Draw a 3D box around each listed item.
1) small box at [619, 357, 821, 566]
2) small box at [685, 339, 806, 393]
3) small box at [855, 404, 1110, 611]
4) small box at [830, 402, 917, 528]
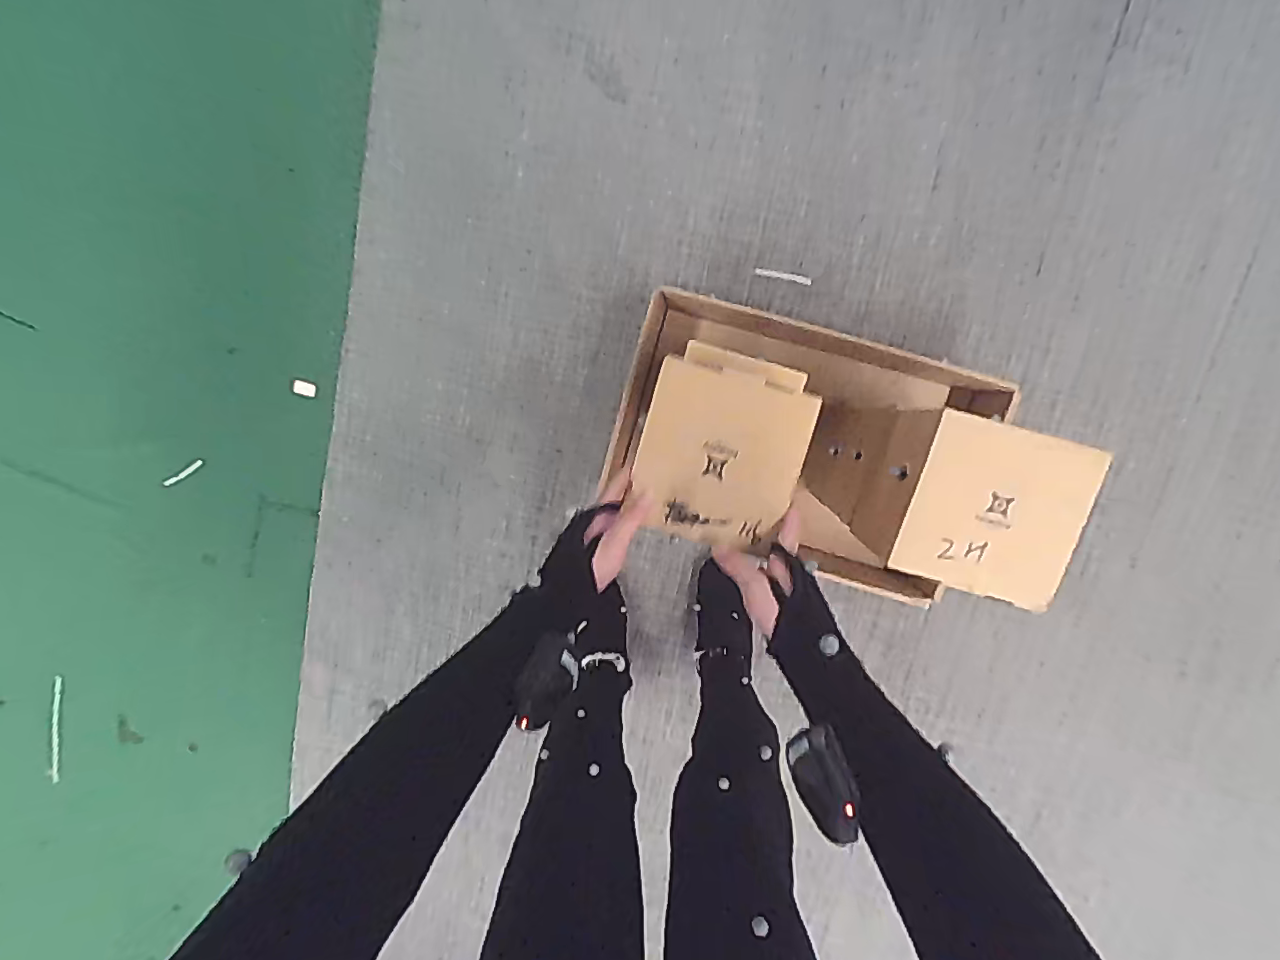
[{"bbox_3d":[0.085,-0.023,0.620,0.168,0.176,0.179,16,95,5],"label":"small box"},{"bbox_3d":[0.125,-0.092,0.804,0.168,0.176,0.179,17,98,3],"label":"small box"},{"bbox_3d":[0.370,0.020,0.625,0.168,0.176,0.179,17,99,6],"label":"small box"},{"bbox_3d":[0.392,-0.004,0.787,0.168,0.176,0.179,19,98,5],"label":"small box"}]
